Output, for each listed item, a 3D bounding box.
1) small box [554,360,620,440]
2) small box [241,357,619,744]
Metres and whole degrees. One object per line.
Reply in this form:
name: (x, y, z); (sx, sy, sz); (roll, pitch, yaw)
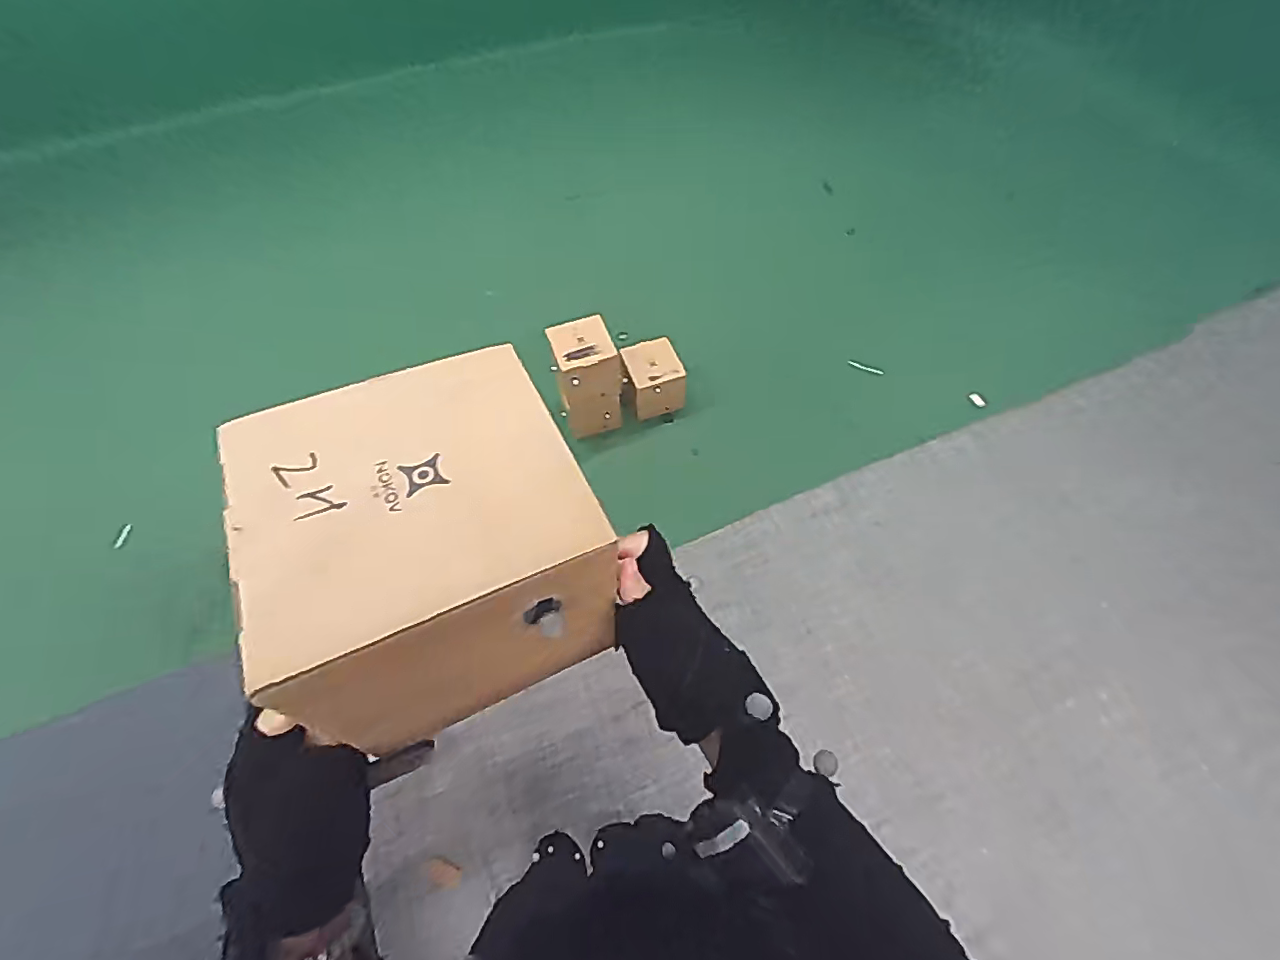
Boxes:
small box: (-0.167, -0.249, 1.743); (0.168, 0.176, 0.179); (-17, 61, -8)
small box: (-0.126, 0.051, 0.368); (0.179, 0.176, 0.168); (-21, 58, -16)
